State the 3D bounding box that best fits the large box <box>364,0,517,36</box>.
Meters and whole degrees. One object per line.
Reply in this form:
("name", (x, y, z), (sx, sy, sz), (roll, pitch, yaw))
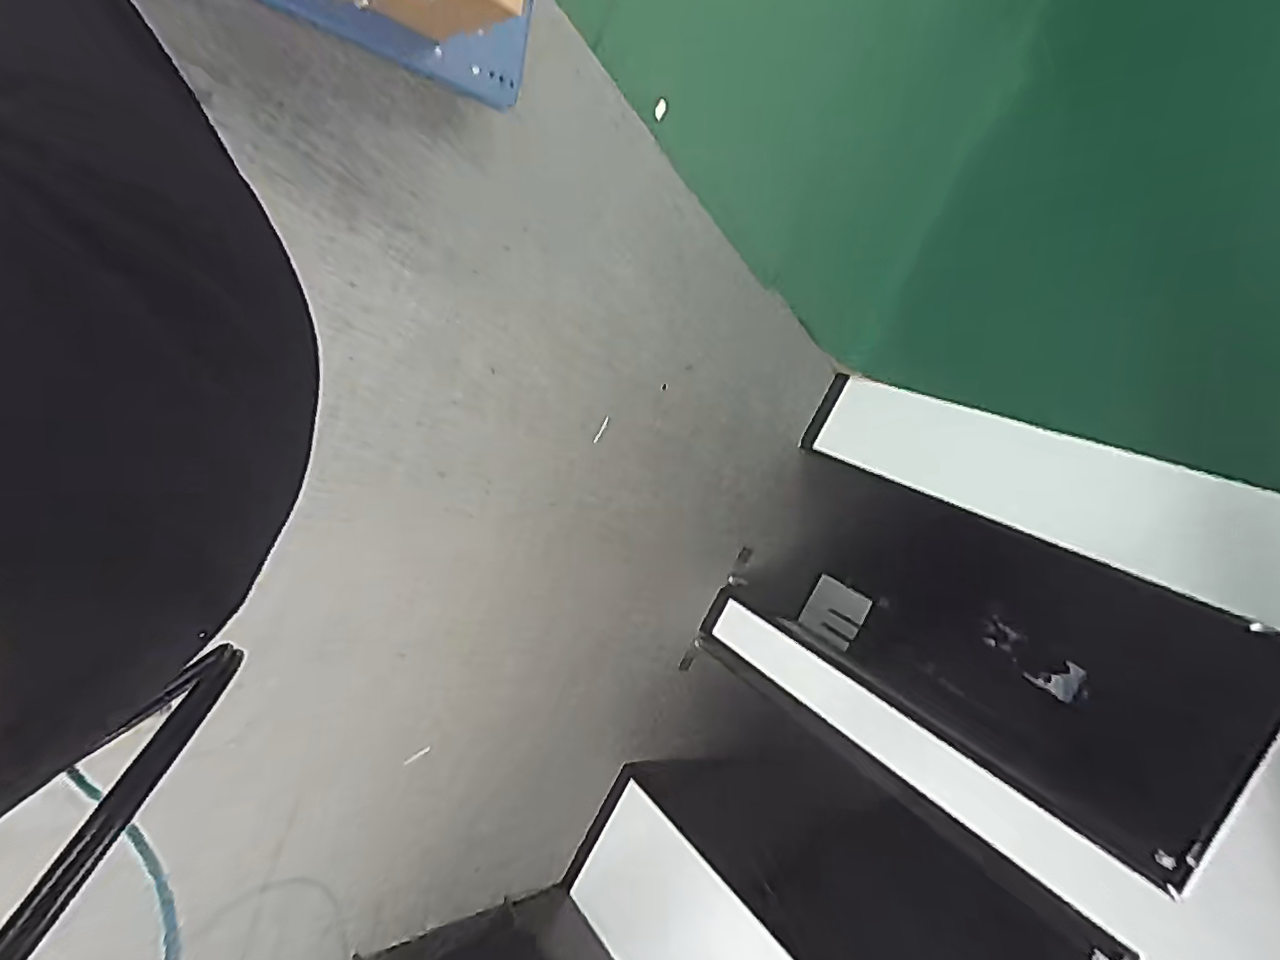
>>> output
("large box", (-0.376, -0.993, 0.813), (0.320, 0.320, 0.408), (-8, 117, -44))
